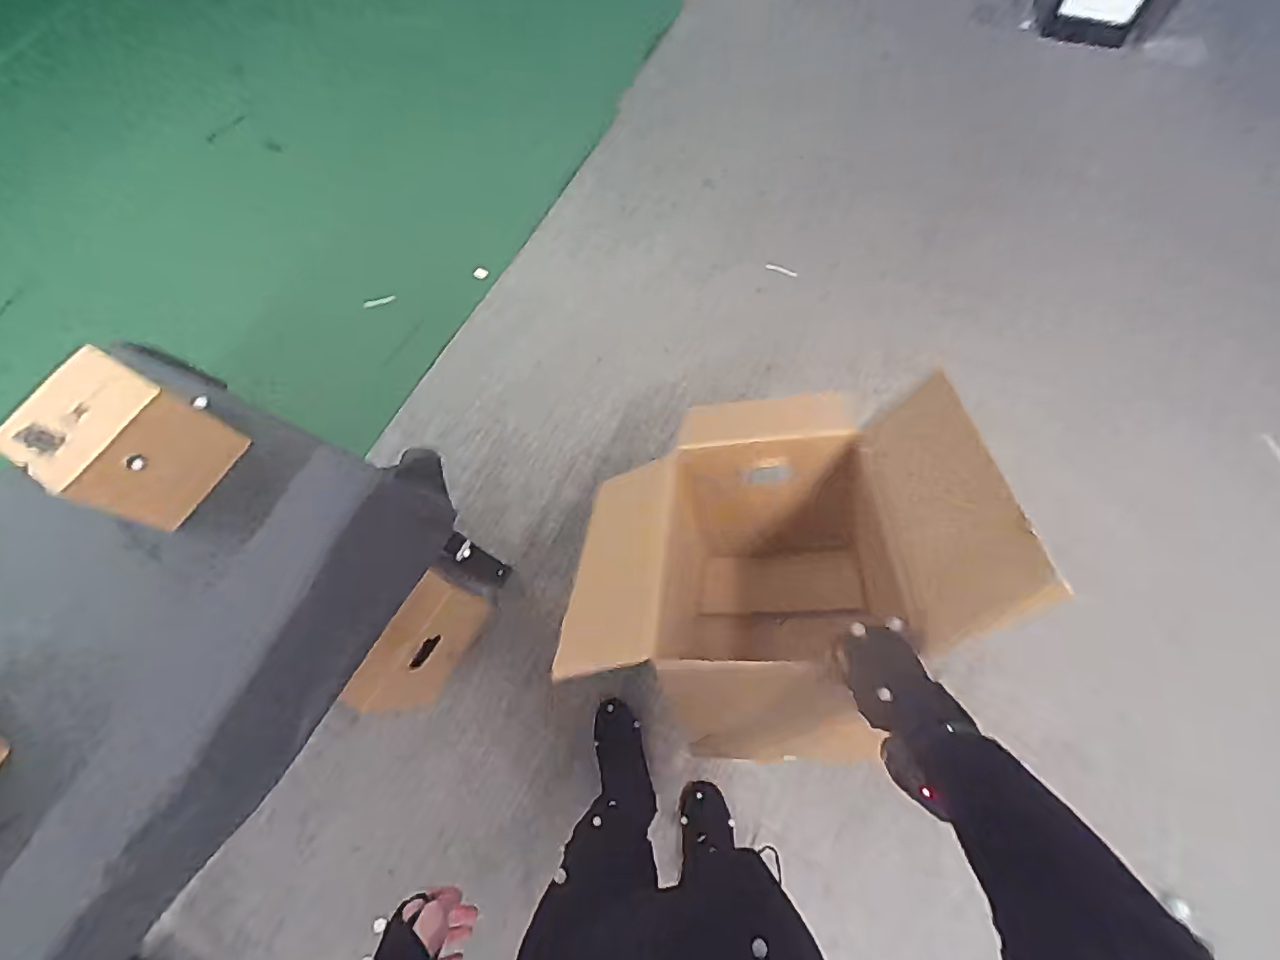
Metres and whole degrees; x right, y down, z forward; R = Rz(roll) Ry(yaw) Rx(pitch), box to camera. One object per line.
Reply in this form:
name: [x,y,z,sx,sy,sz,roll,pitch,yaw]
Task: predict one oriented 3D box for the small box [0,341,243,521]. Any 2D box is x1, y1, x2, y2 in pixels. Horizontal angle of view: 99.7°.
small box: [-0.748,-0.063,0.794,0.168,0.176,0.179,28,73,14]
